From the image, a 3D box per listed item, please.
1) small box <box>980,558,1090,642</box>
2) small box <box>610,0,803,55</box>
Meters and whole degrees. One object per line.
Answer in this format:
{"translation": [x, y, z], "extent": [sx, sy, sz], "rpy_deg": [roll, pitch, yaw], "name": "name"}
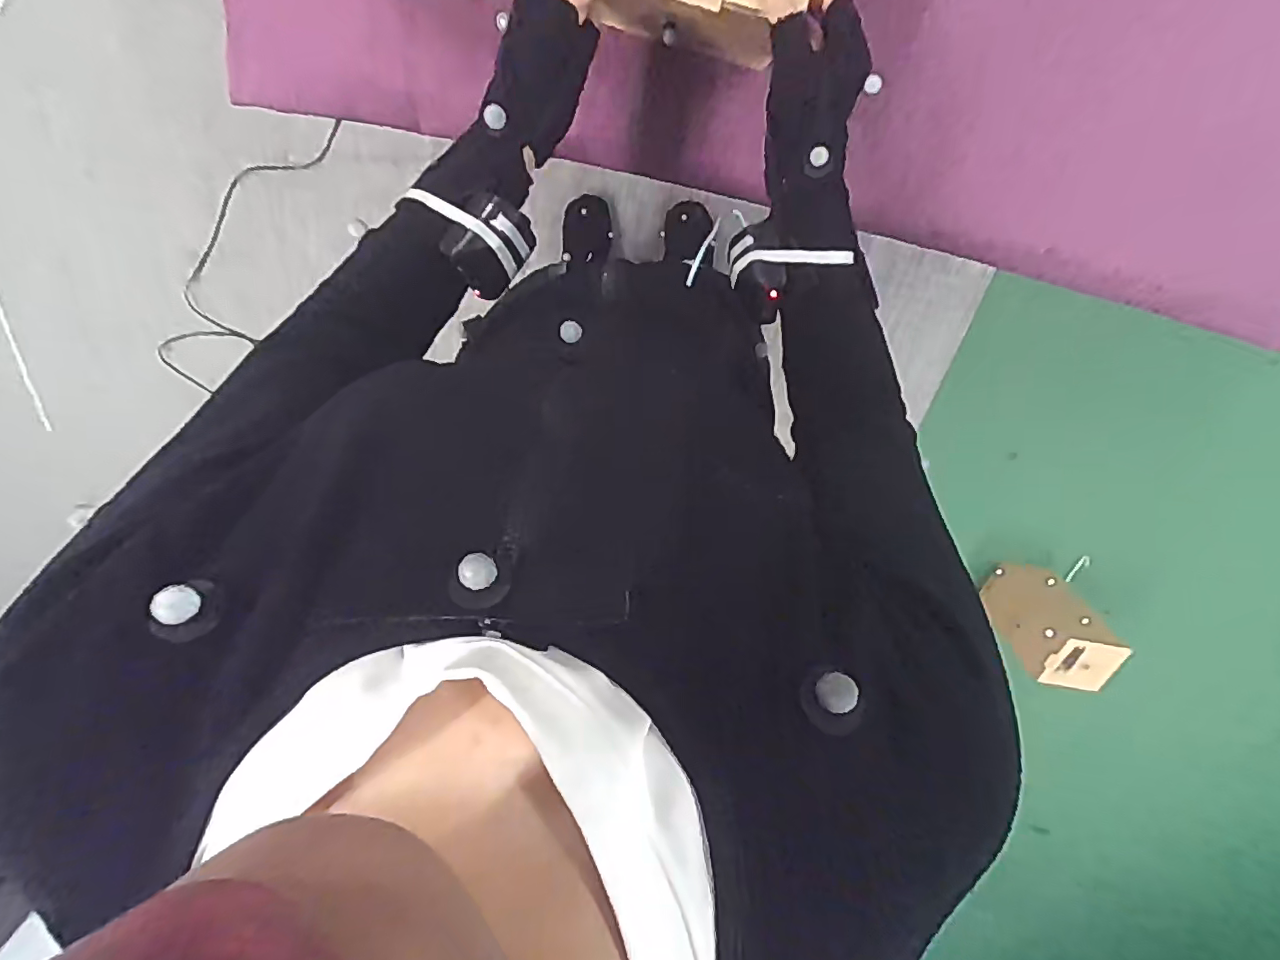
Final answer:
{"translation": [1.179, 0.358, 1.634], "extent": [0.179, 0.176, 0.168], "rpy_deg": [11, 120, -3], "name": "small box"}
{"translation": [0.059, -0.466, 0.416], "extent": [0.168, 0.176, 0.179], "rpy_deg": [13, 120, -4], "name": "small box"}
